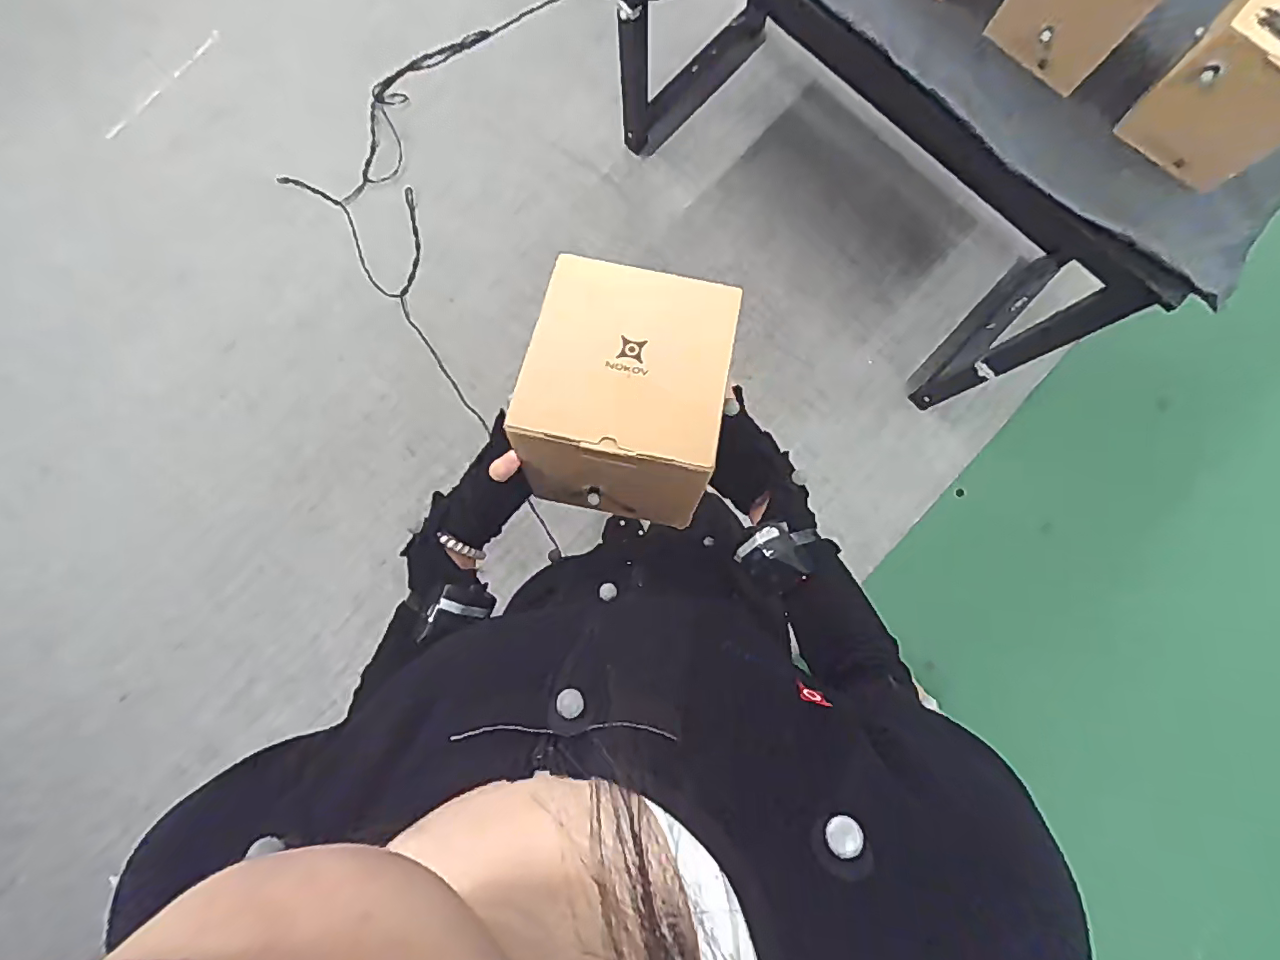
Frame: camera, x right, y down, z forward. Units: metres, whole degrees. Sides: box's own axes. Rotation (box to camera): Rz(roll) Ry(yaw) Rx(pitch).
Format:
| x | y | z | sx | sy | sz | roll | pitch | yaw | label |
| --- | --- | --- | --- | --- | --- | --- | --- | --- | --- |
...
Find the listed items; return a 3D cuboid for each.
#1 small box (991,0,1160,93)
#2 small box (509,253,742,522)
| x | y | z | sx | sy | sz | roll | pitch | yaw | label |
| --- | --- | --- | --- | --- | --- | --- | --- | --- | --- |
| 0.651 | -0.712 | 0.763 | 0.168 | 0.176 | 0.179 | 42 | 85 | 5 | small box |
| -0.011 | -0.076 | 0.516 | 0.168 | 0.176 | 0.179 | 11 | 71 | 1 | small box |
